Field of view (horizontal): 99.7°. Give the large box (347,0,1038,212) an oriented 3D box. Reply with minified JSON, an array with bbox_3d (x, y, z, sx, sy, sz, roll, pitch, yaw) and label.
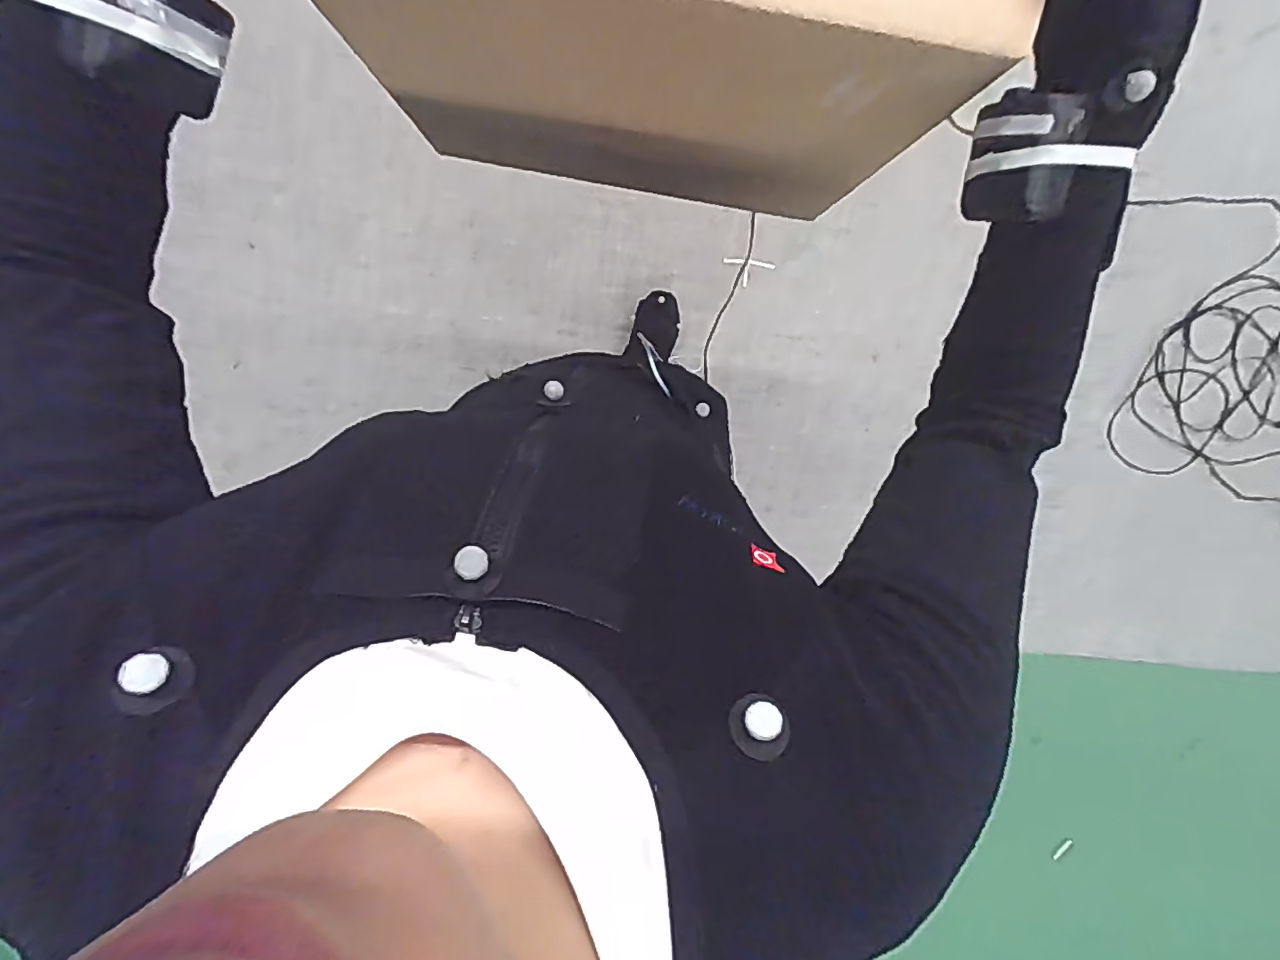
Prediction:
[{"bbox_3d":[0.026,-0.431,0.400,0.408,0.320,0.320,7,101,-5],"label":"large box"}]
